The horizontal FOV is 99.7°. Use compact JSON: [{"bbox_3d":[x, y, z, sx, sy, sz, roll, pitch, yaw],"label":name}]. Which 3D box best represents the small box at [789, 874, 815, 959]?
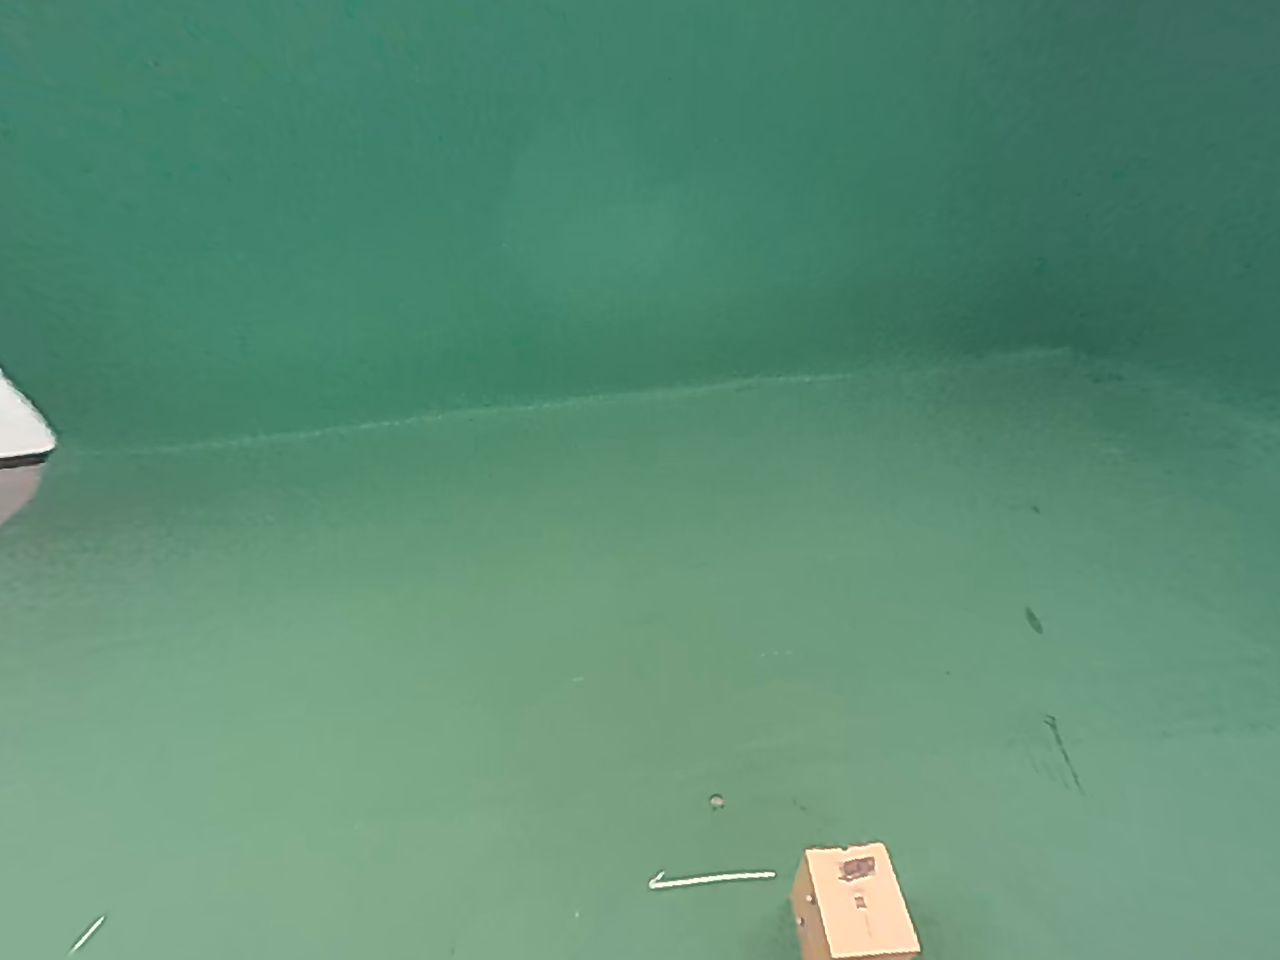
[{"bbox_3d":[0.439,1.004,1.206,0.168,0.176,0.179,-5,39,1],"label":"small box"}]

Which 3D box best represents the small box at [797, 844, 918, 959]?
[{"bbox_3d":[0.430,0.877,1.102,0.168,0.176,0.179,-5,40,0],"label":"small box"}]
